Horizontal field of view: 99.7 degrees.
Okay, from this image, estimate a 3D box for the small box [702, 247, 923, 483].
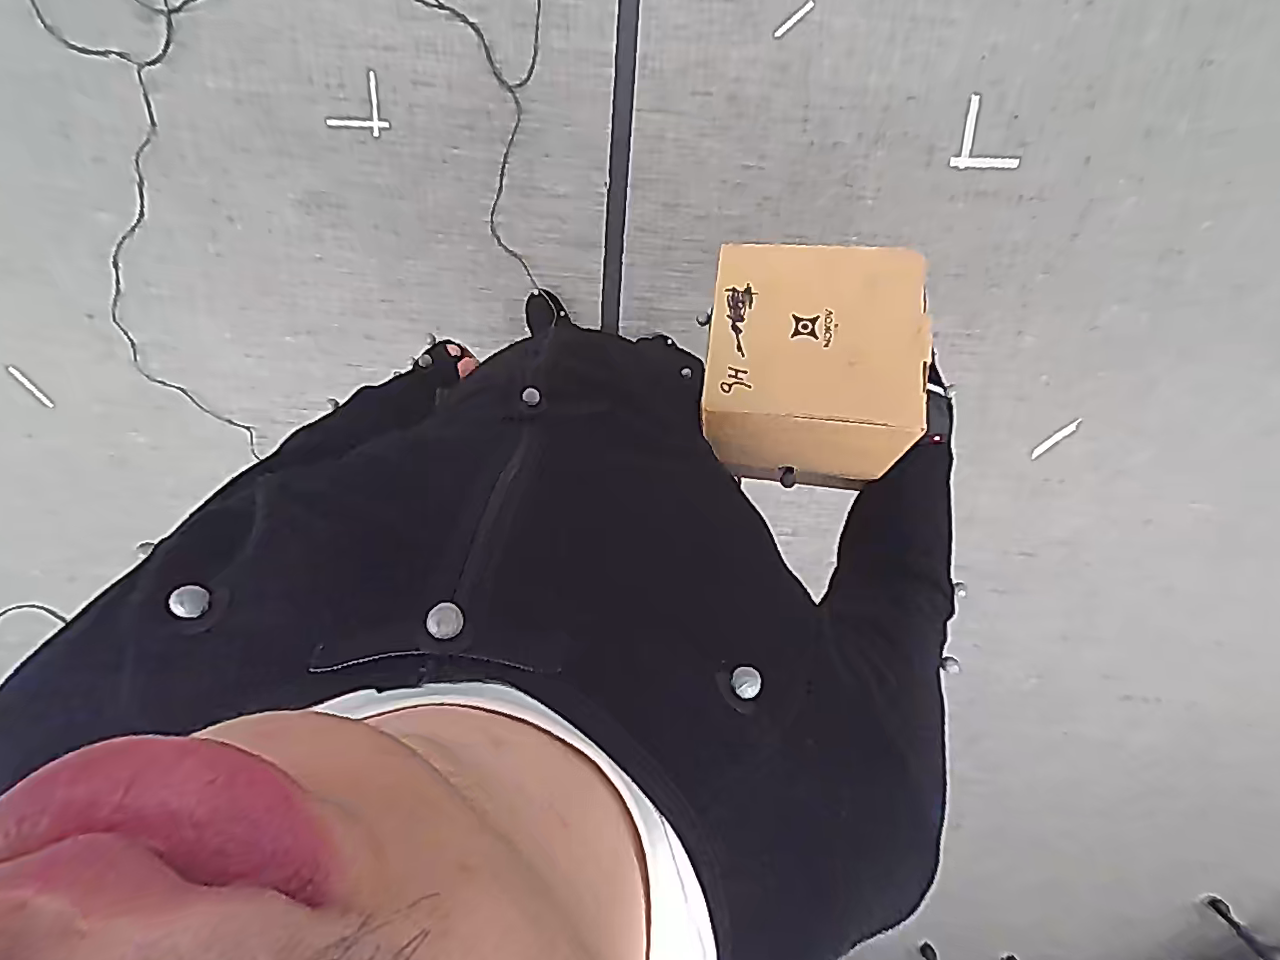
[{"bbox_3d":[0.159,-0.102,0.540,0.179,0.176,0.168,7,72,8],"label":"small box"}]
